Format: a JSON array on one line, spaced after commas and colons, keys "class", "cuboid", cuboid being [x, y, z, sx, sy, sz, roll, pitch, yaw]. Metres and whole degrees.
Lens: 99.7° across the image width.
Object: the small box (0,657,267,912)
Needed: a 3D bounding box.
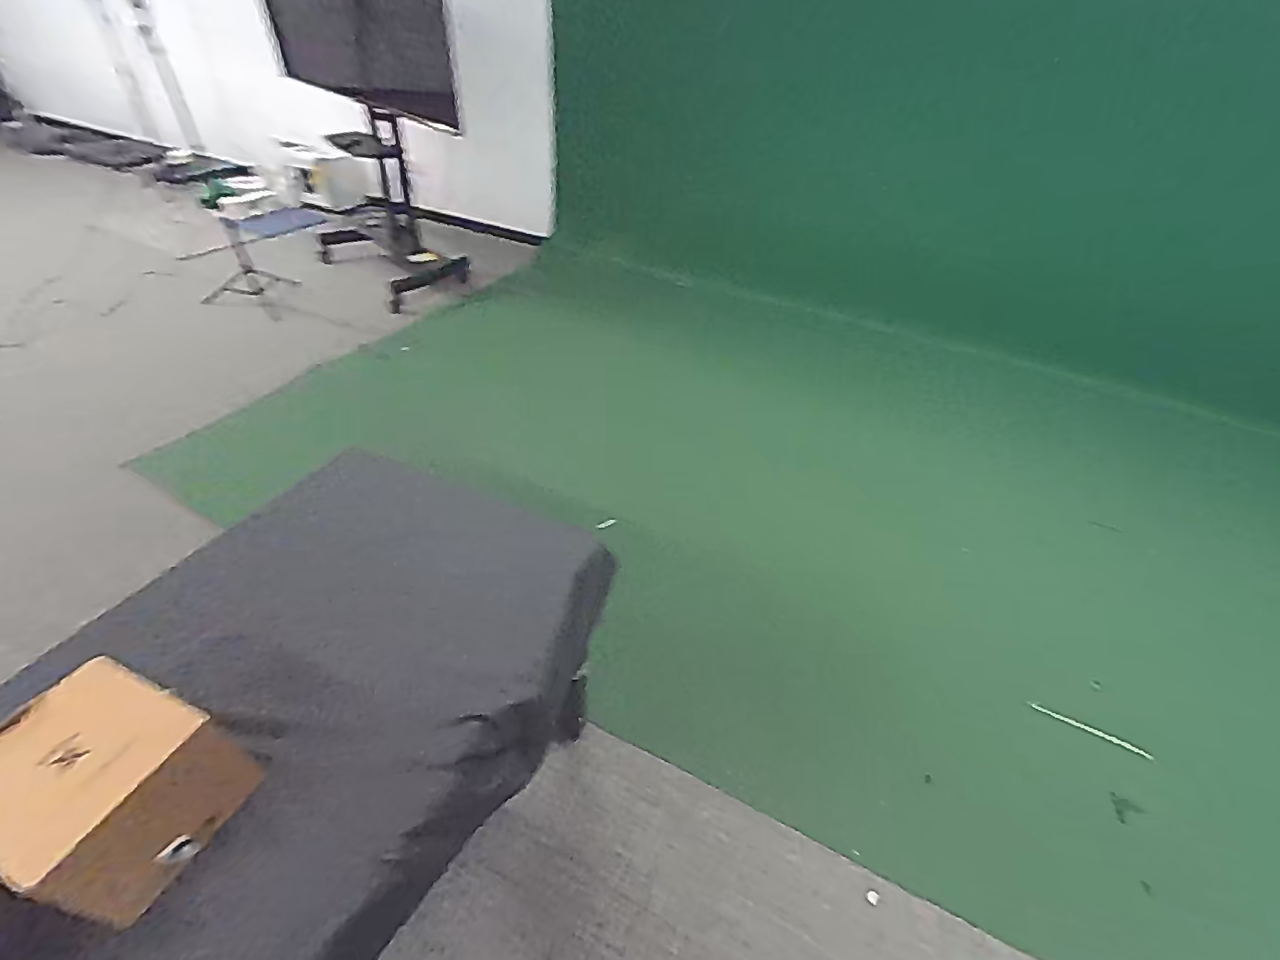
[{"class": "small box", "cuboid": [-0.567, 0.333, 0.592, 0.179, 0.176, 0.168, 19, 44, 12]}]
